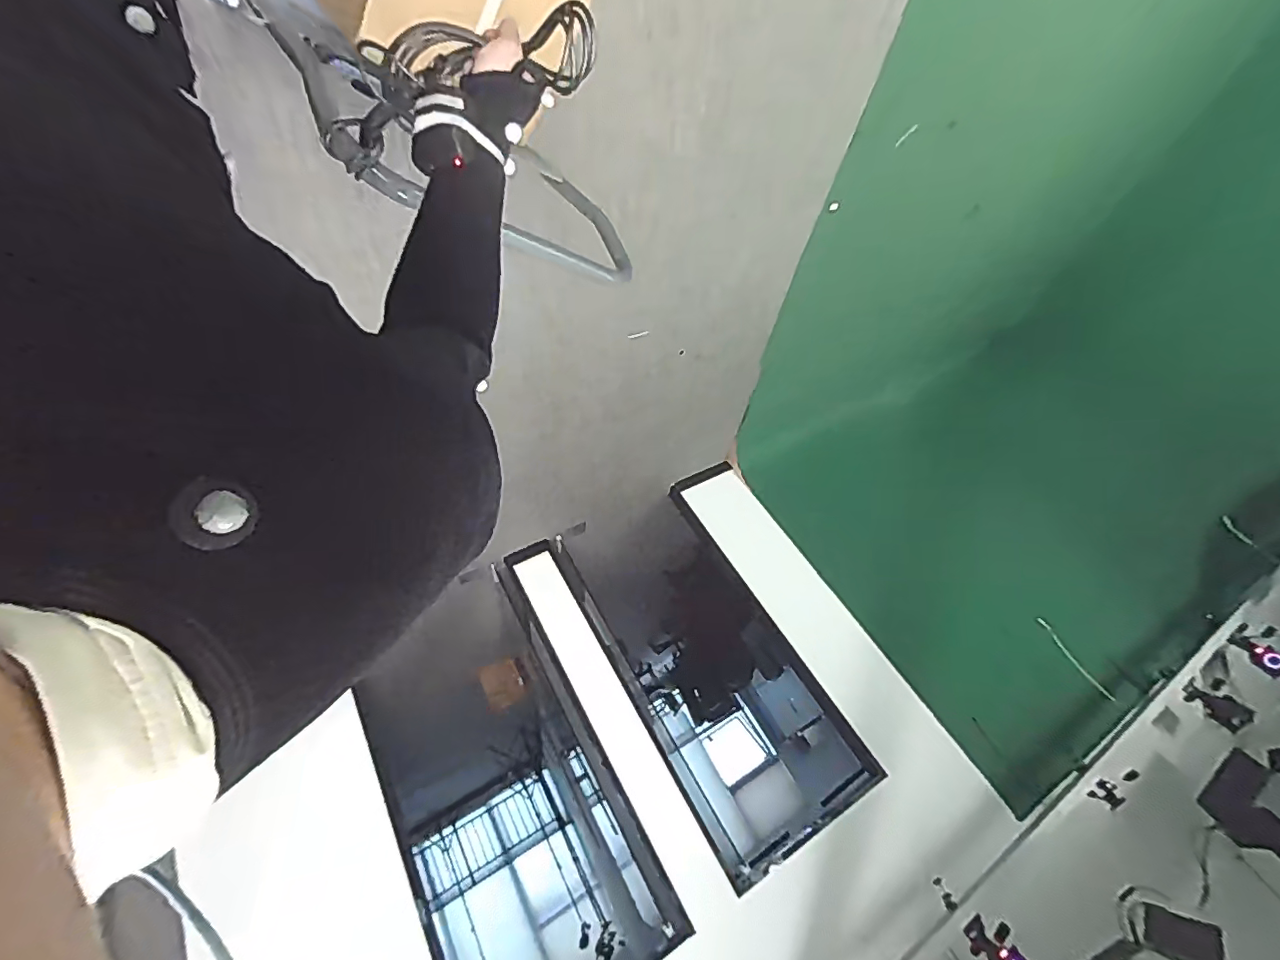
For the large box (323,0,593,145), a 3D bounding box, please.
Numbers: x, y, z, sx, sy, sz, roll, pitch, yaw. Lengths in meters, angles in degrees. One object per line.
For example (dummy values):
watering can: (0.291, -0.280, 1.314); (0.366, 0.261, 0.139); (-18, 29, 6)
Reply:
large box: (-0.287, -0.879, 0.891); (0.320, 0.320, 0.408); (0, 136, -50)
